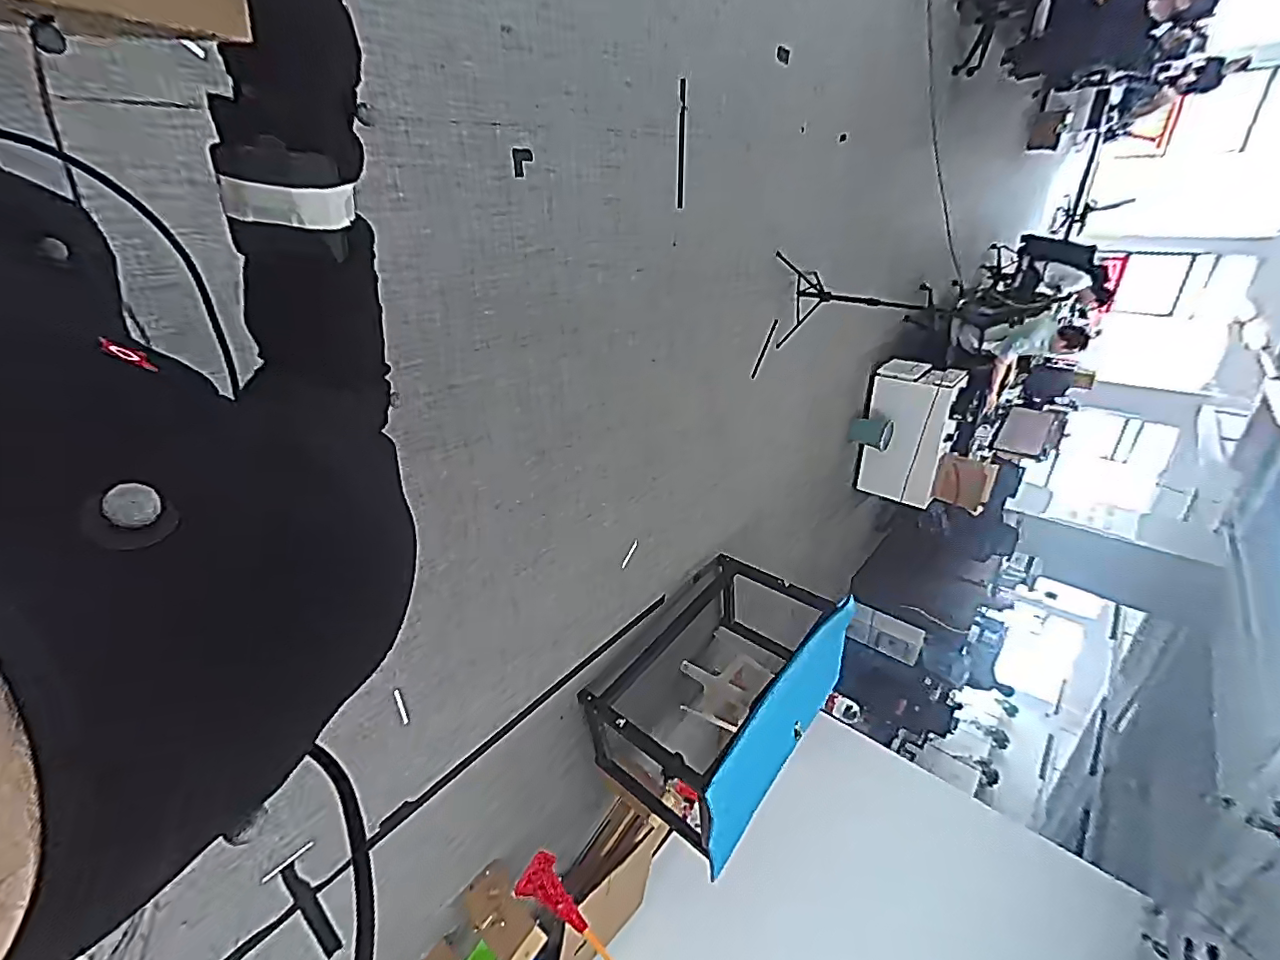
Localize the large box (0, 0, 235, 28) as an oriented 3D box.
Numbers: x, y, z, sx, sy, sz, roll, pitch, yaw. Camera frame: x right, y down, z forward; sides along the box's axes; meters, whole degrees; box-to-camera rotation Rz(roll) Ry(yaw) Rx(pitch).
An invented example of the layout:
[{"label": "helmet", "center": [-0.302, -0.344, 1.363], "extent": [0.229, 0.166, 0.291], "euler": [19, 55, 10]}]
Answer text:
[{"label": "large box", "center": [-0.425, -0.358, 0.138], "extent": [0.408, 0.320, 0.320], "euler": [-26, 136, -43]}]
